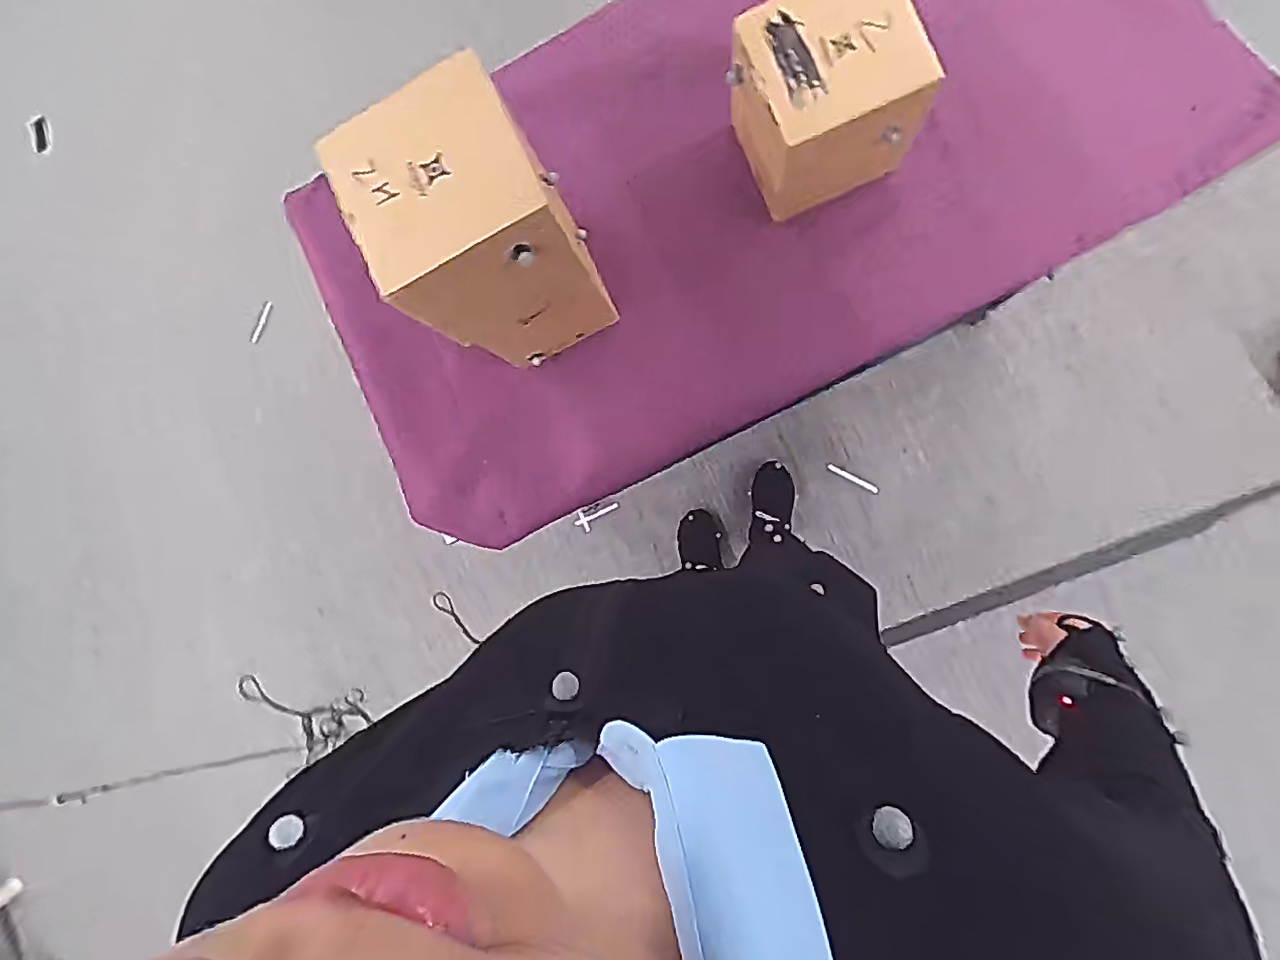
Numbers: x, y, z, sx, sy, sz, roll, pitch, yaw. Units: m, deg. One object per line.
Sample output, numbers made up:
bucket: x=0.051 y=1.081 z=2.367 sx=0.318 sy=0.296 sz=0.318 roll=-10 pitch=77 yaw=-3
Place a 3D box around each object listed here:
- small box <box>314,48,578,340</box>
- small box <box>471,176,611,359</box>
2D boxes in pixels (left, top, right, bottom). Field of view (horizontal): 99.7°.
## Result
small box: x=-0.178 y=-0.272 z=0.559 sx=0.179 sy=0.176 sz=0.168 roll=-26 pitch=85 yaw=7
small box: x=-0.154 y=-0.278 z=0.723 sx=0.168 sy=0.176 sz=0.179 roll=-25 pitch=85 yaw=7
